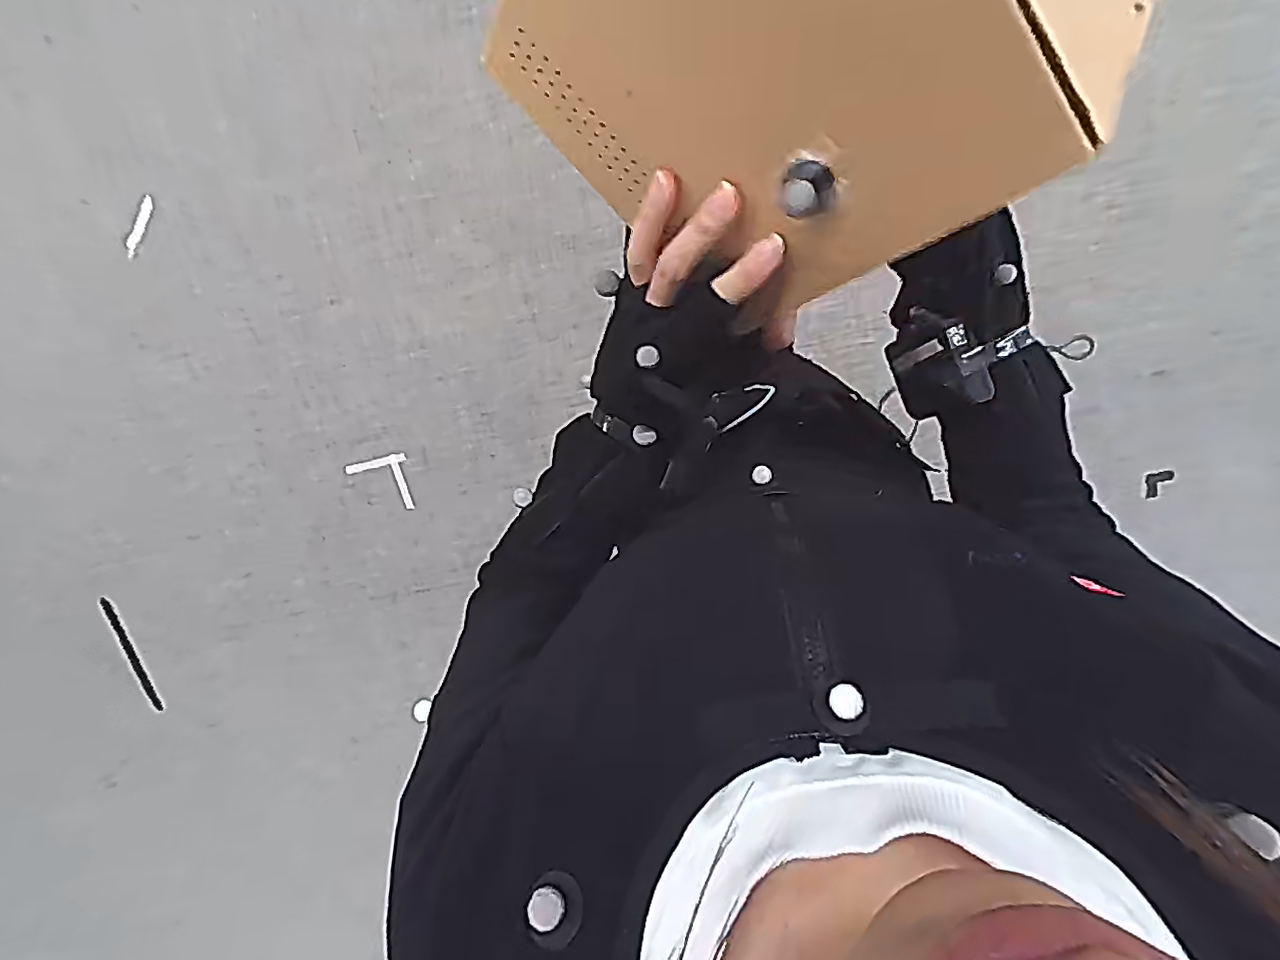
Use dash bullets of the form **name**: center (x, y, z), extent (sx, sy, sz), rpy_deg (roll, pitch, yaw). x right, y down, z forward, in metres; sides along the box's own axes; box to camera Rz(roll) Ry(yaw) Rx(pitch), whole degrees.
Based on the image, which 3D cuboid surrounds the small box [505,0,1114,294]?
- **small box**: center (0.070, -0.211, 0.244), extent (0.179, 0.176, 0.168), rpy_deg (43, 66, -17)
